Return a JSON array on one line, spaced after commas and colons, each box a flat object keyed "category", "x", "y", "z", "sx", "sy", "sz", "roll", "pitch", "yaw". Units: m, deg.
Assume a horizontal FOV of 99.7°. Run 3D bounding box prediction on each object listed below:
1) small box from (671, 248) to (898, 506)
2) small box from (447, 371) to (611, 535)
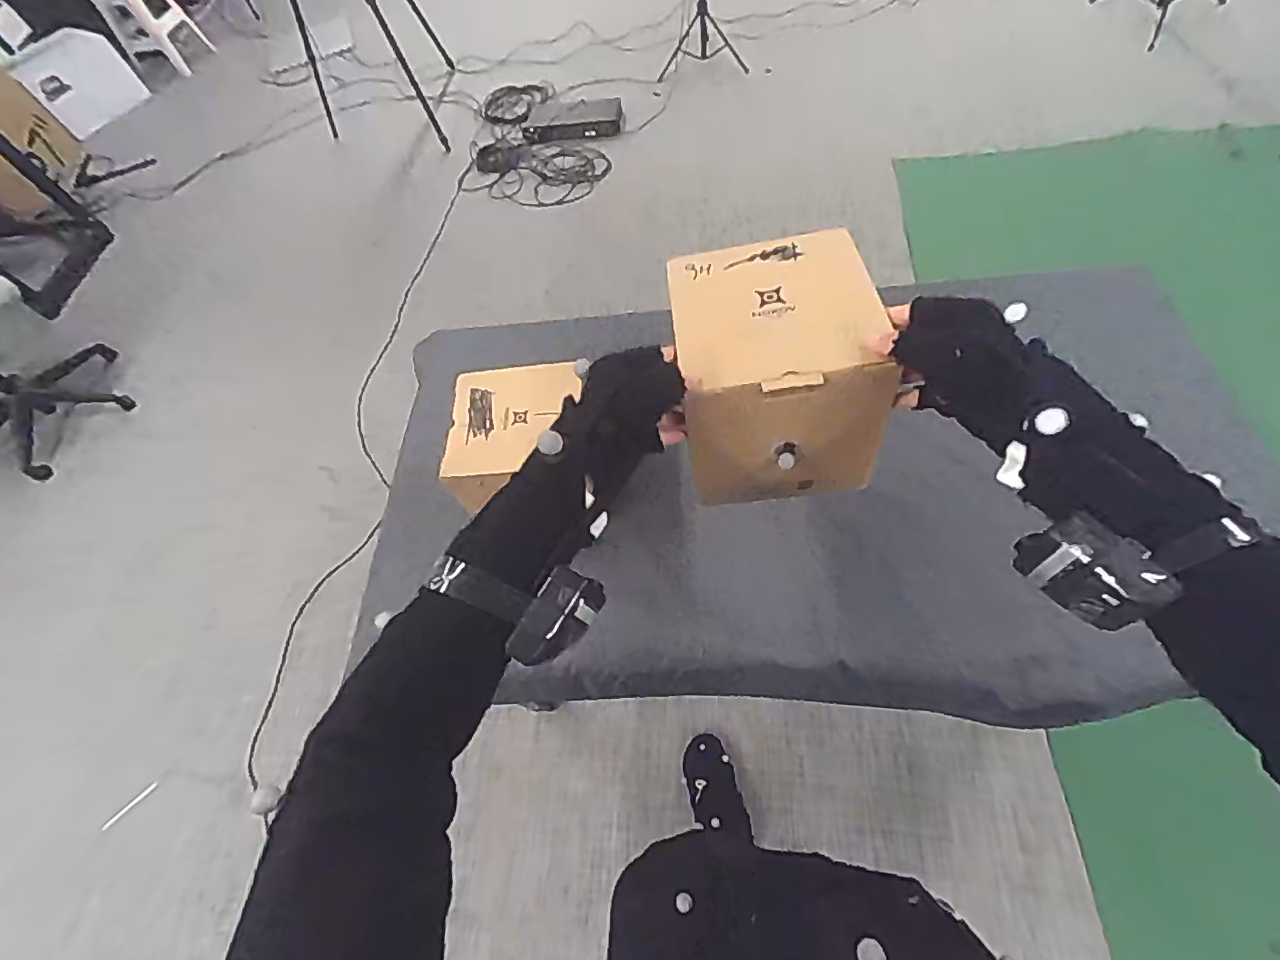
[{"category": "small box", "x": 0.126, "y": -0.087, "z": 0.522, "sx": 0.168, "sy": 0.176, "sz": 0.179, "roll": -7, "pitch": 55, "yaw": 7}, {"category": "small box", "x": -0.142, "y": -0.029, "z": 0.760, "sx": 0.179, "sy": 0.176, "sz": 0.168, "roll": -4, "pitch": 60, "yaw": 6}]
